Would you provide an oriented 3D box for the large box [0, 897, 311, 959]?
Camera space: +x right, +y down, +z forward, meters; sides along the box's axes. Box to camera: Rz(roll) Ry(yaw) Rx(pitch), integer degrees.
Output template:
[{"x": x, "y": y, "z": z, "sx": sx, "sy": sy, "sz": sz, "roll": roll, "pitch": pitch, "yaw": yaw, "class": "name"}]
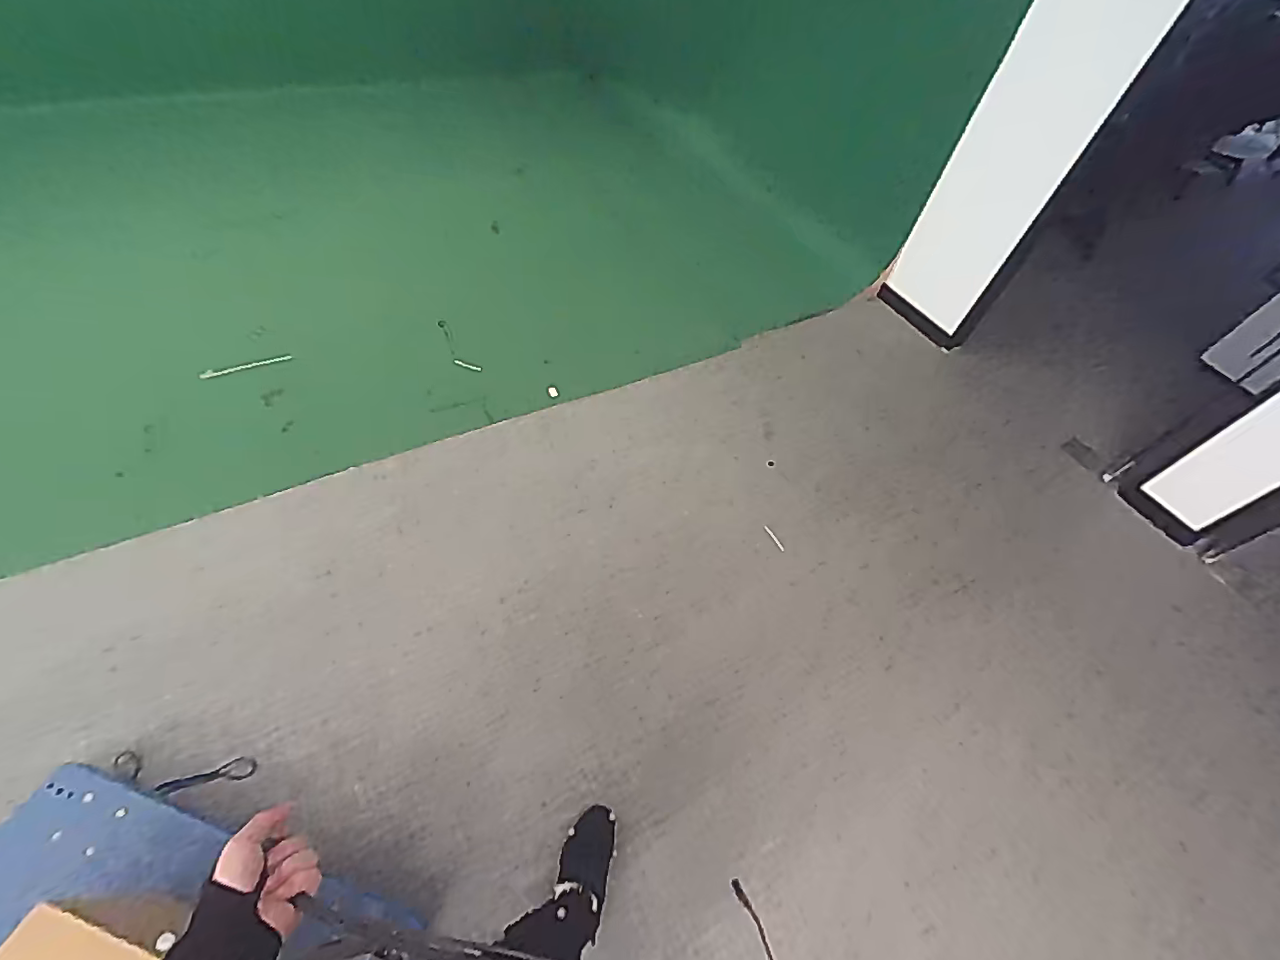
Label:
[{"x": -0.768, "y": 0.892, "z": 0.818, "sx": 0.408, "sy": 0.320, "sz": 0.320, "roll": 18, "pitch": 53, "yaw": 7, "class": "large box"}]
